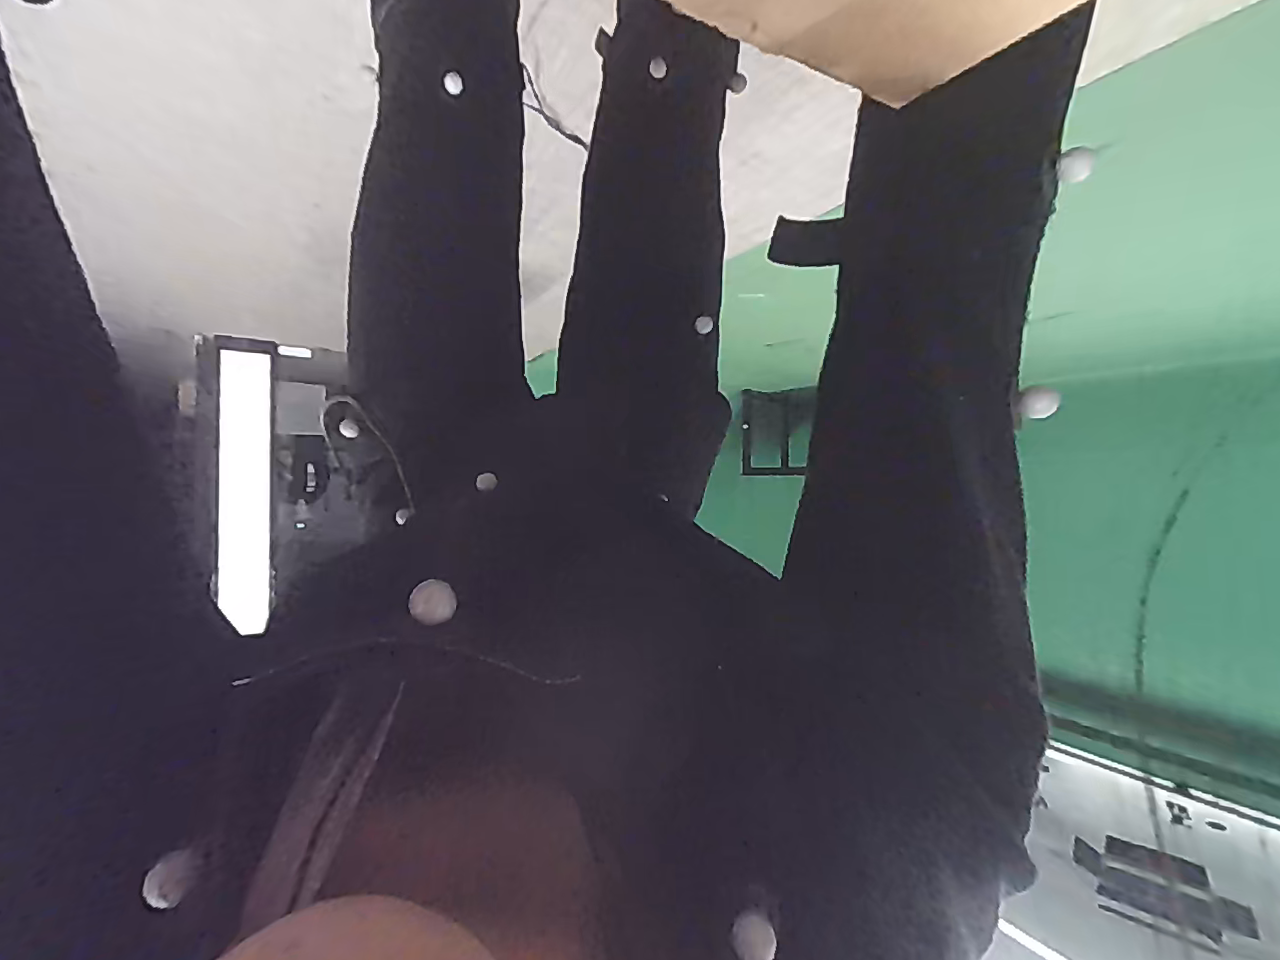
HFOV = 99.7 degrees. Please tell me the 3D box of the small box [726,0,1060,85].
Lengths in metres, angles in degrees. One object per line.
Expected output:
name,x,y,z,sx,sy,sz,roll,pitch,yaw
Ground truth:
small box,0.078,-0.230,0.097,0.168,0.176,0.179,1,-174,-26
